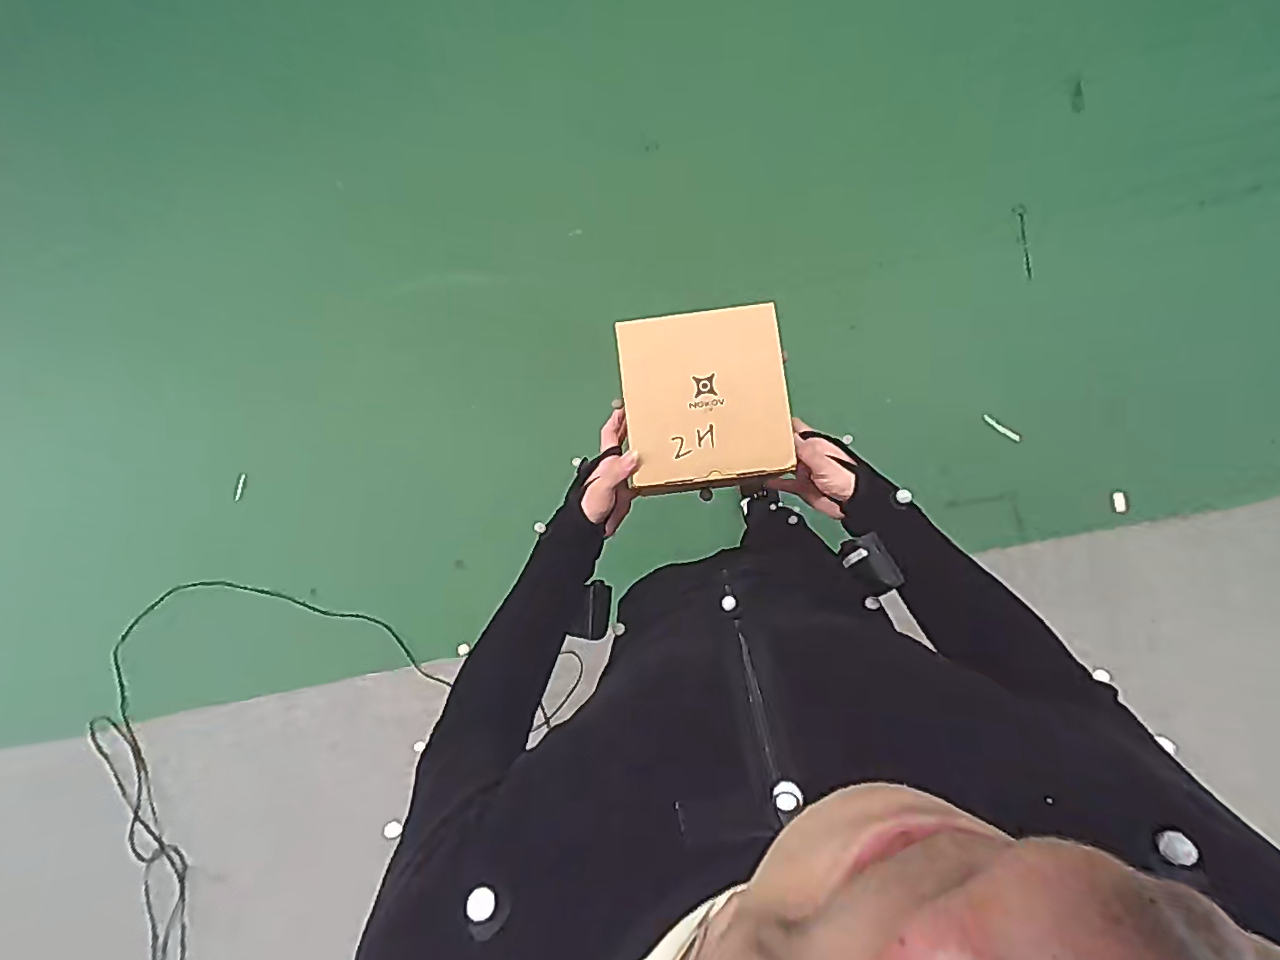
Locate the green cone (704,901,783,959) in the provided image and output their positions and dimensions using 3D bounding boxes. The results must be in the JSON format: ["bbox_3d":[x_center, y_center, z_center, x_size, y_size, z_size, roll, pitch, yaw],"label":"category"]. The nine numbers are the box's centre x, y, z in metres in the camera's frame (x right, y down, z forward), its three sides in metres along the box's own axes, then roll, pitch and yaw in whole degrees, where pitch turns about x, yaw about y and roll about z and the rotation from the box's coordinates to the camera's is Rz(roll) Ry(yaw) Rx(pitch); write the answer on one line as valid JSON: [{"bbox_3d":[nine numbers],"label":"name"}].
[{"bbox_3d":[0.276,1.299,1.370,0.202,0.368,0.200,-11,85,6],"label":"green cone"}]
